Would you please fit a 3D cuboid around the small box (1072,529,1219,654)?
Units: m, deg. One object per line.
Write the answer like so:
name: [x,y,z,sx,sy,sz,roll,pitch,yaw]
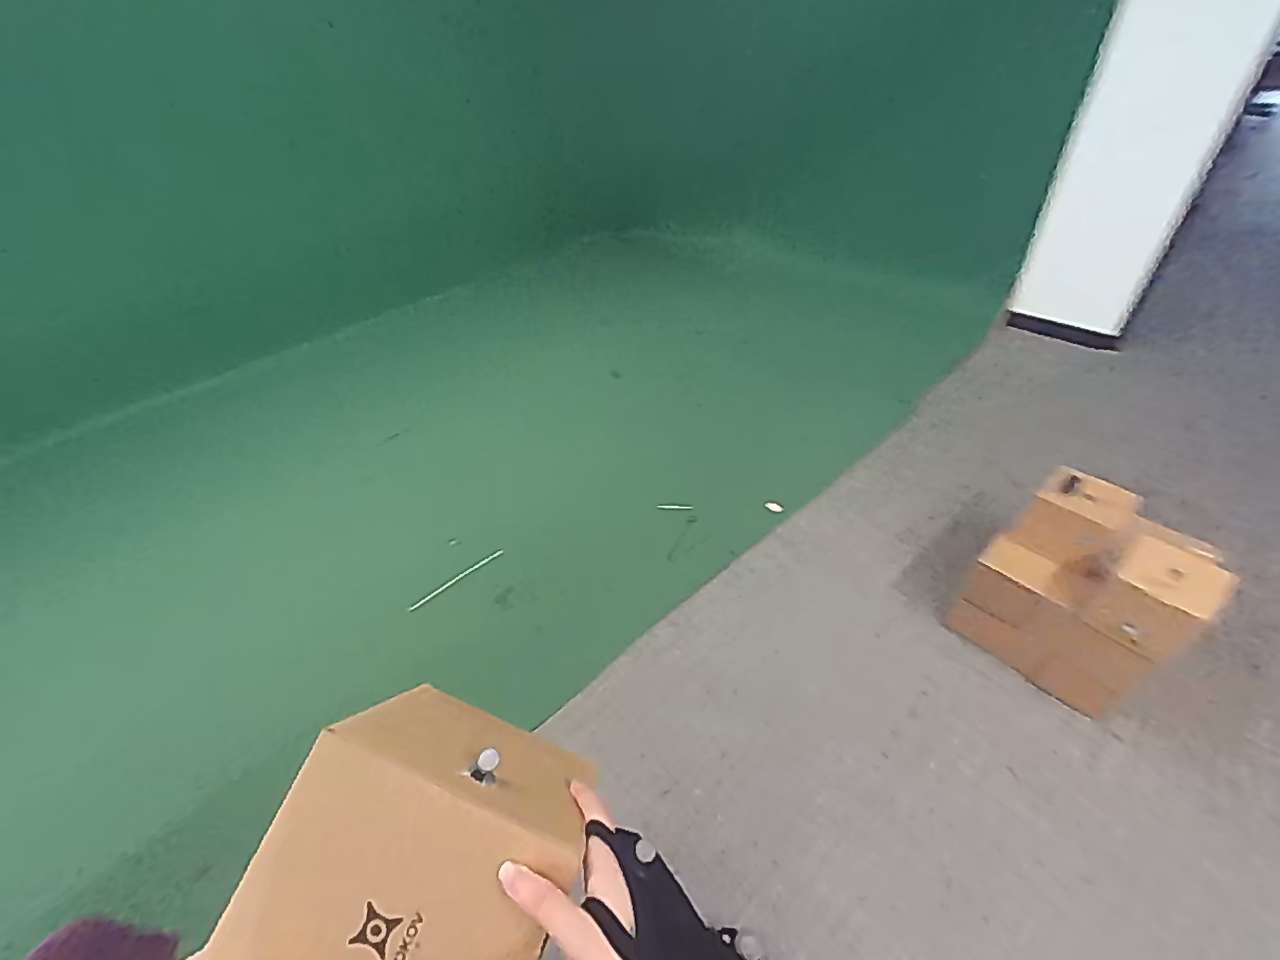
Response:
small box: [1.120,0.249,1.211,0.179,0.176,0.168,-32,48,-25]
